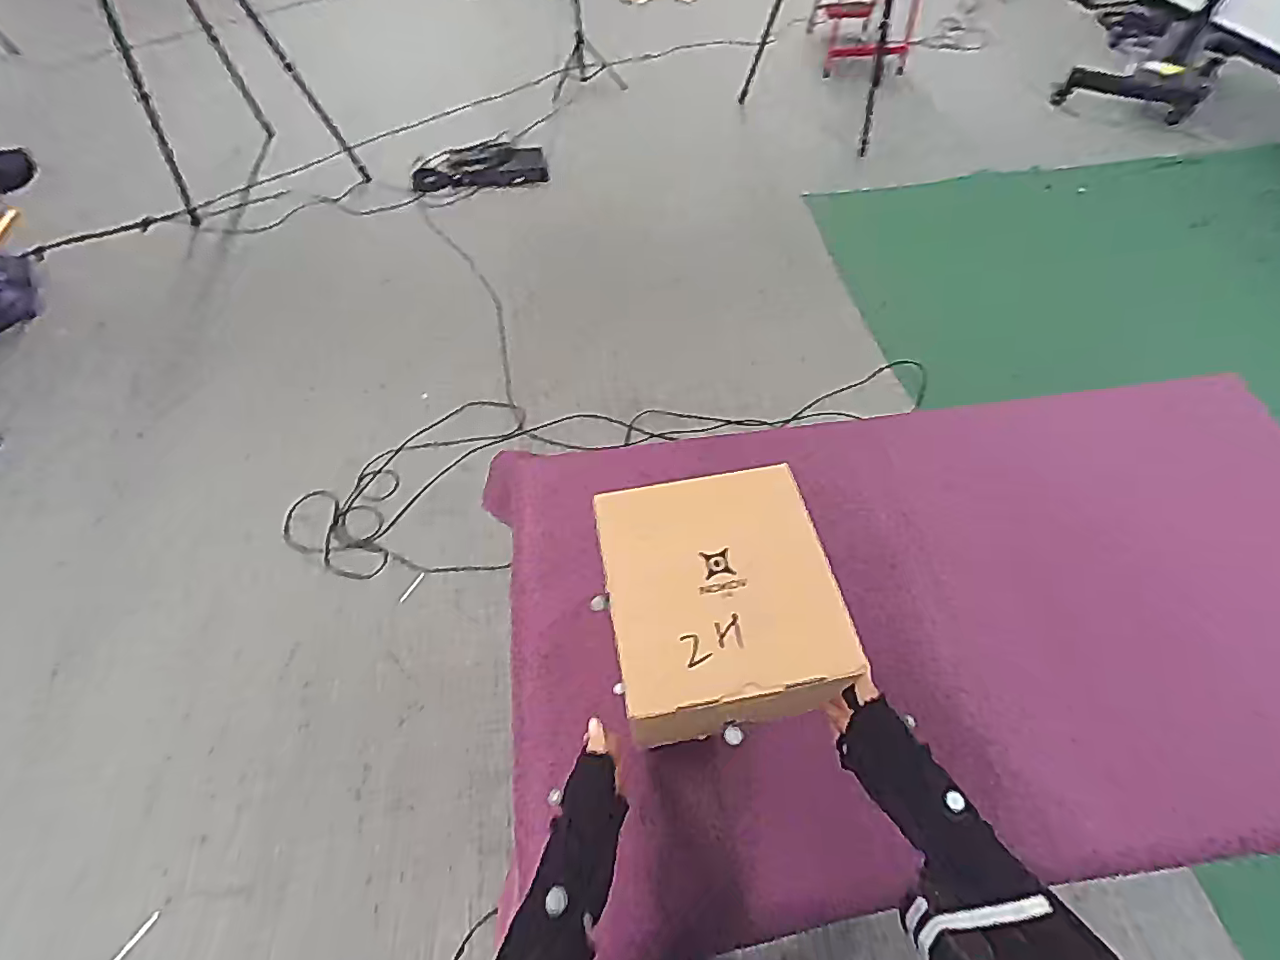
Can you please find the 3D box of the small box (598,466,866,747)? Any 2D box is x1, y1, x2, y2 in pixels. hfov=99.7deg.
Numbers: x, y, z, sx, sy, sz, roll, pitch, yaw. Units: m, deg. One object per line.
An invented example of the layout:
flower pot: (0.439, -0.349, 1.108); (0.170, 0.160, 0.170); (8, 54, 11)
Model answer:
small box: (0.059, 0.114, 0.469); (0.168, 0.176, 0.179); (-10, 58, -5)
